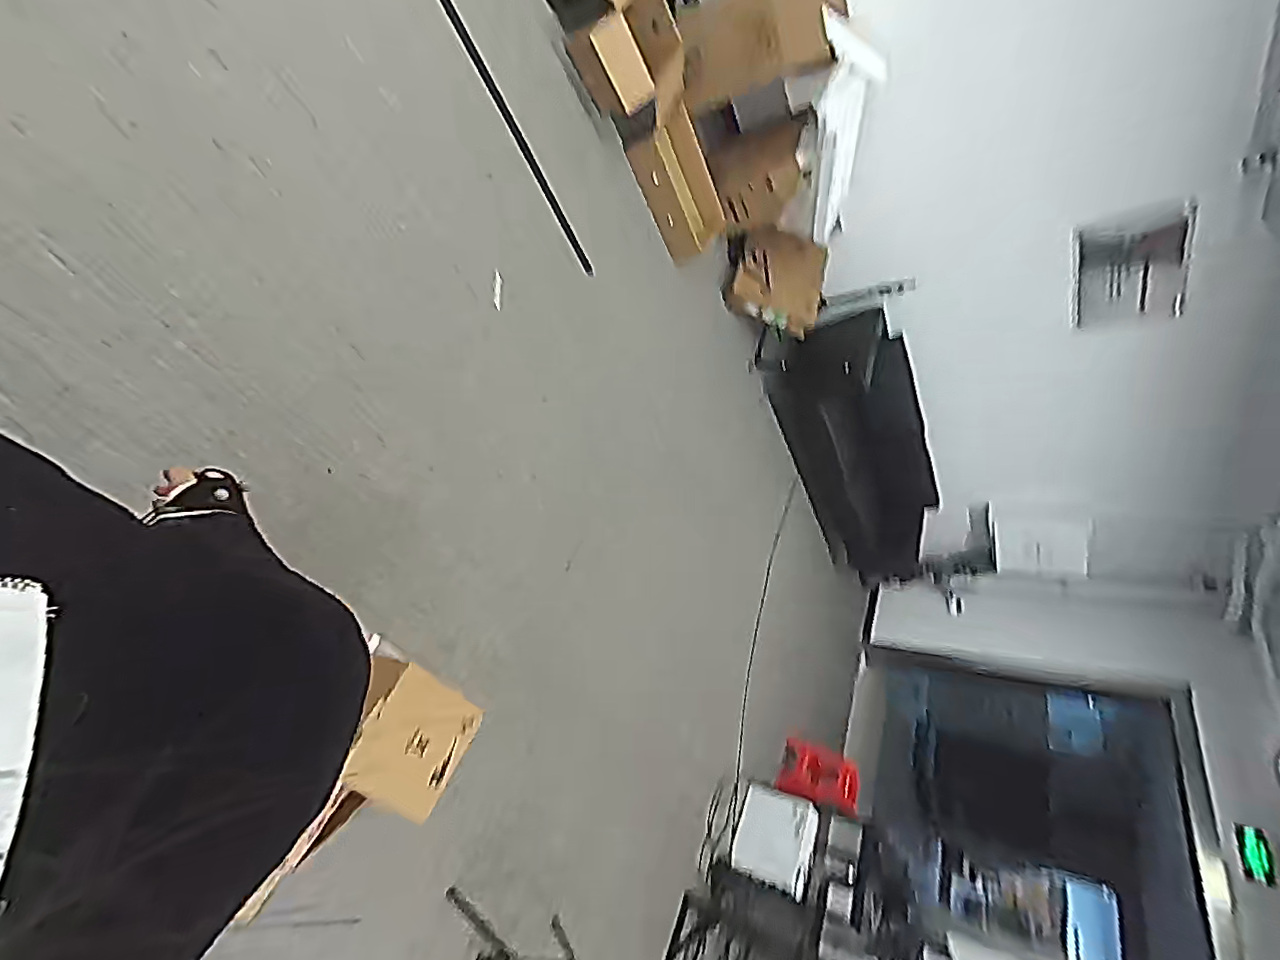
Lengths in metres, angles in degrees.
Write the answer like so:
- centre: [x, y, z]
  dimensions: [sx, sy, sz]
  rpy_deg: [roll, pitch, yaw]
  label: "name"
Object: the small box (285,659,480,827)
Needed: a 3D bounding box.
- centre: [-0.393, 0.392, 0.829]
  dimensions: [0.179, 0.176, 0.168]
  rpy_deg: [56, 46, -32]
  label: "small box"
